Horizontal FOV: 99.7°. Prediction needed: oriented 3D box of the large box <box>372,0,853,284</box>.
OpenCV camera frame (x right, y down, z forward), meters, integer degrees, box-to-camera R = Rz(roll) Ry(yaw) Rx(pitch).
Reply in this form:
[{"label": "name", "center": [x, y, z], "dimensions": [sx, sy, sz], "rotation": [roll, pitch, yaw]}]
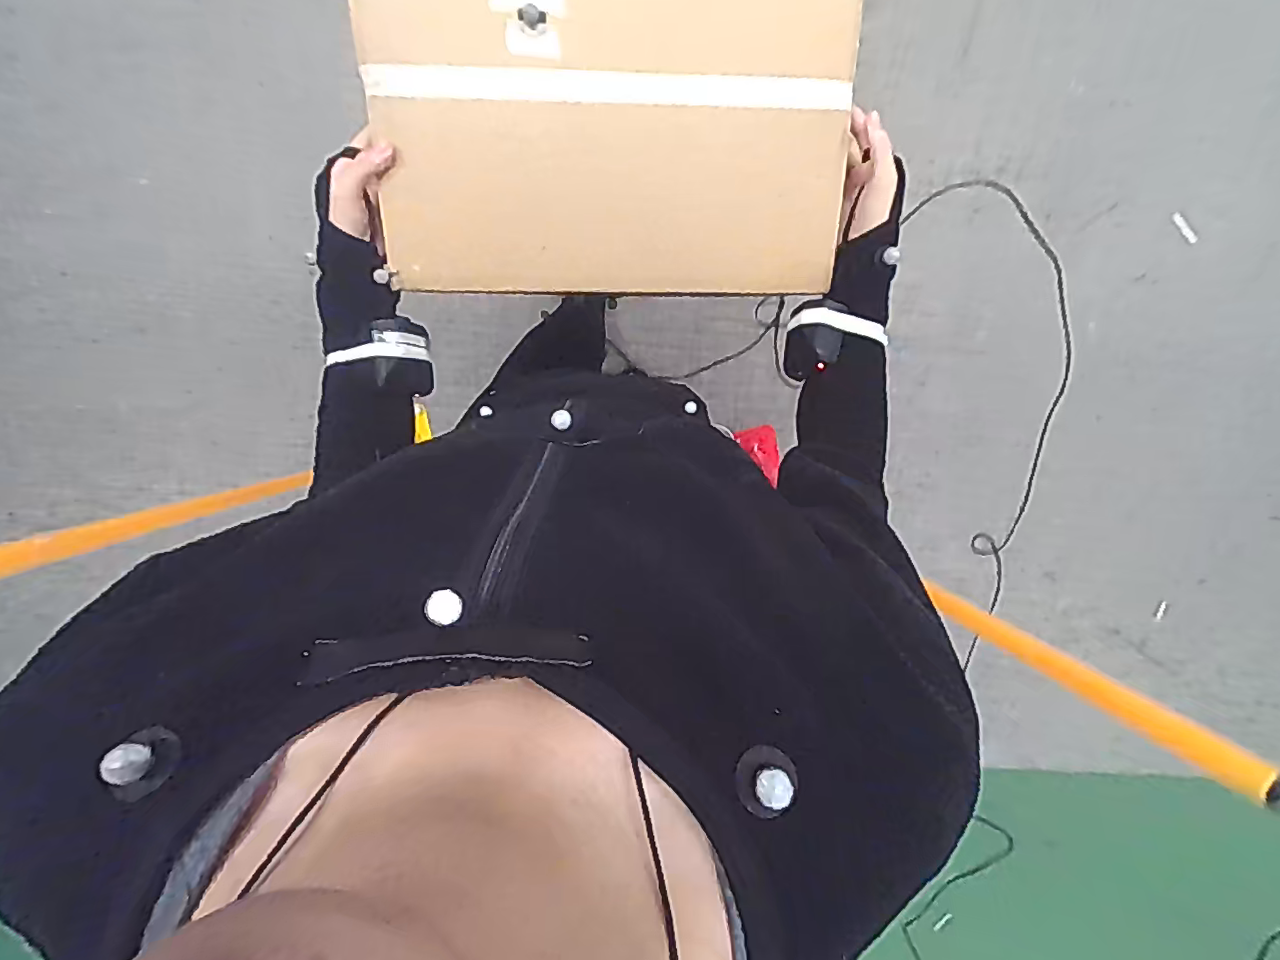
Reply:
[{"label": "large box", "center": [-0.026, -0.385, 0.602], "dimensions": [0.408, 0.320, 0.320], "rotation": [-1, 108, -4]}]
